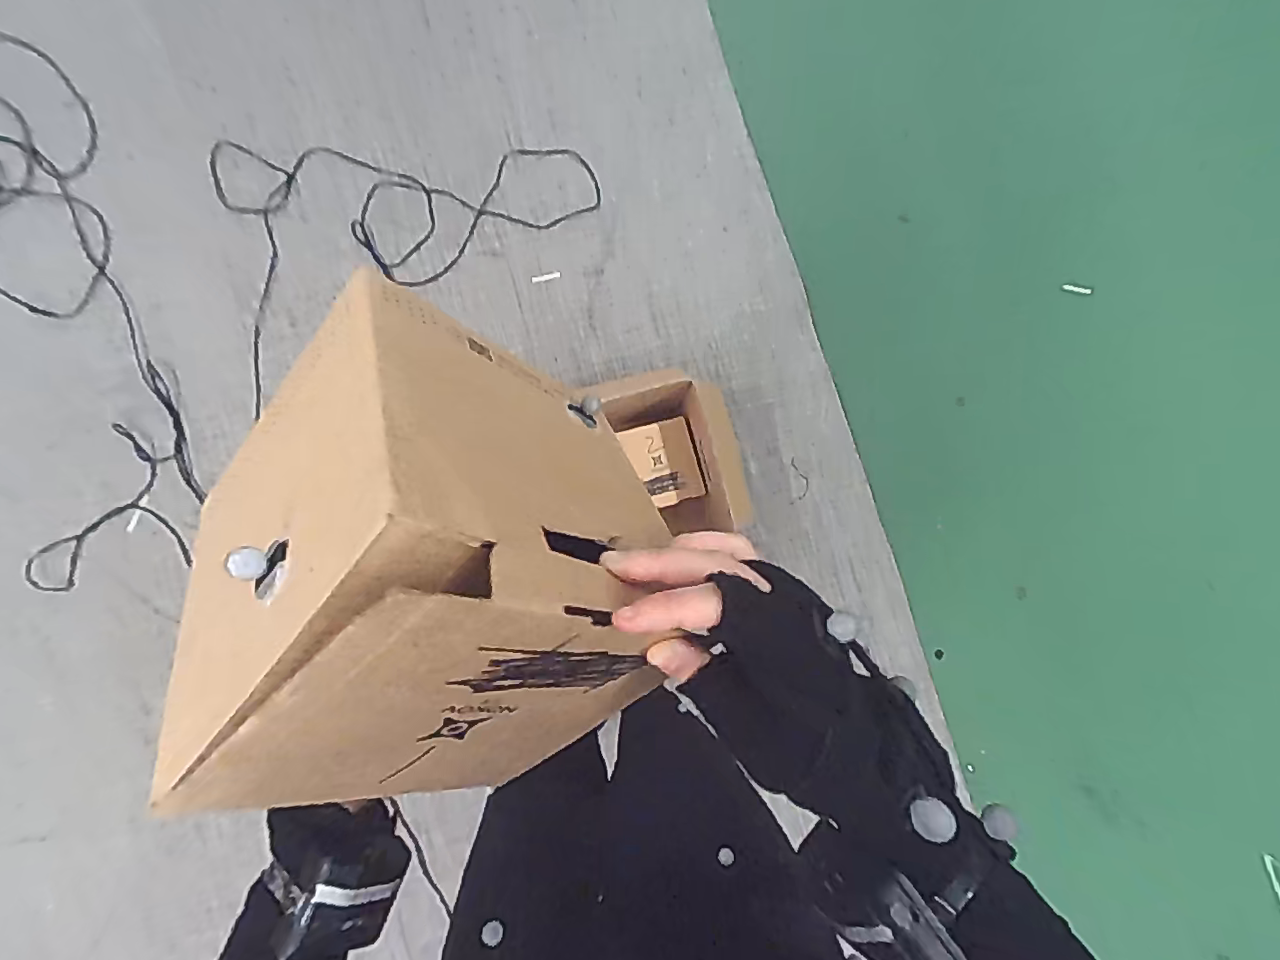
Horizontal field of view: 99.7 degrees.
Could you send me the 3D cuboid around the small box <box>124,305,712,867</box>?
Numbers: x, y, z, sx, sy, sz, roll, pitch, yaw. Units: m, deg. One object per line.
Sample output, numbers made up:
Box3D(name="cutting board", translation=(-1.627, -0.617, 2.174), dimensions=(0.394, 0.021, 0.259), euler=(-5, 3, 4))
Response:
Box3D(name="small box", translation=(-0.103, 0.049, 0.271), dimensions=(0.179, 0.168, 0.176), euler=(-44, 47, 18))
